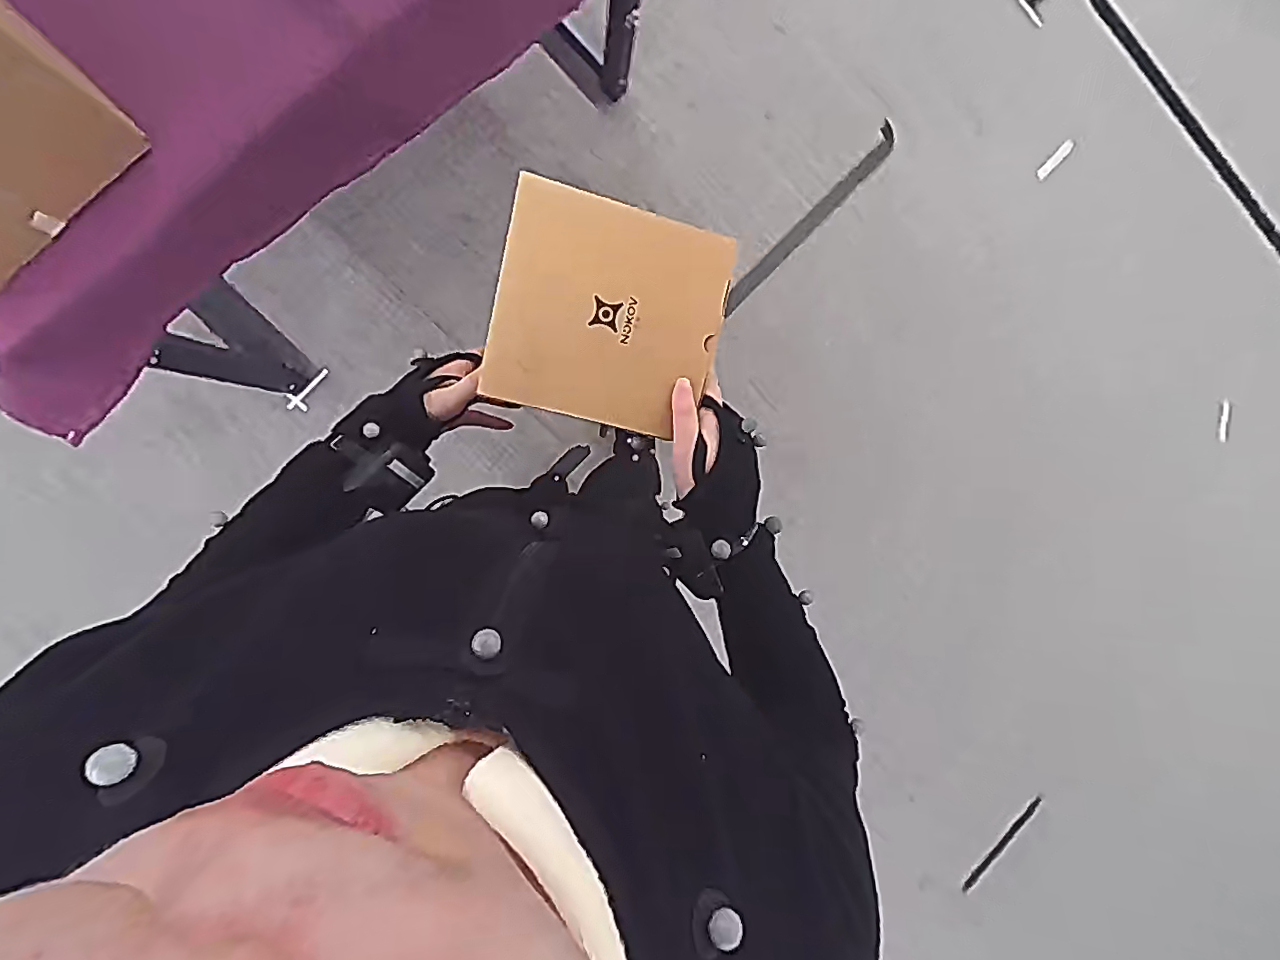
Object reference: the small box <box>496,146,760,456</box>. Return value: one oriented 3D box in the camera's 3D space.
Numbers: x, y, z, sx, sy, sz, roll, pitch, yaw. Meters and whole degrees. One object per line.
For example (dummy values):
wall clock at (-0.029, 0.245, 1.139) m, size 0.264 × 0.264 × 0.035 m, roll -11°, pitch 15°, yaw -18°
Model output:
small box at (-0.014, -0.128, 0.458) m, size 0.168 × 0.176 × 0.179 m, roll 8°, pitch 79°, yaw -31°
